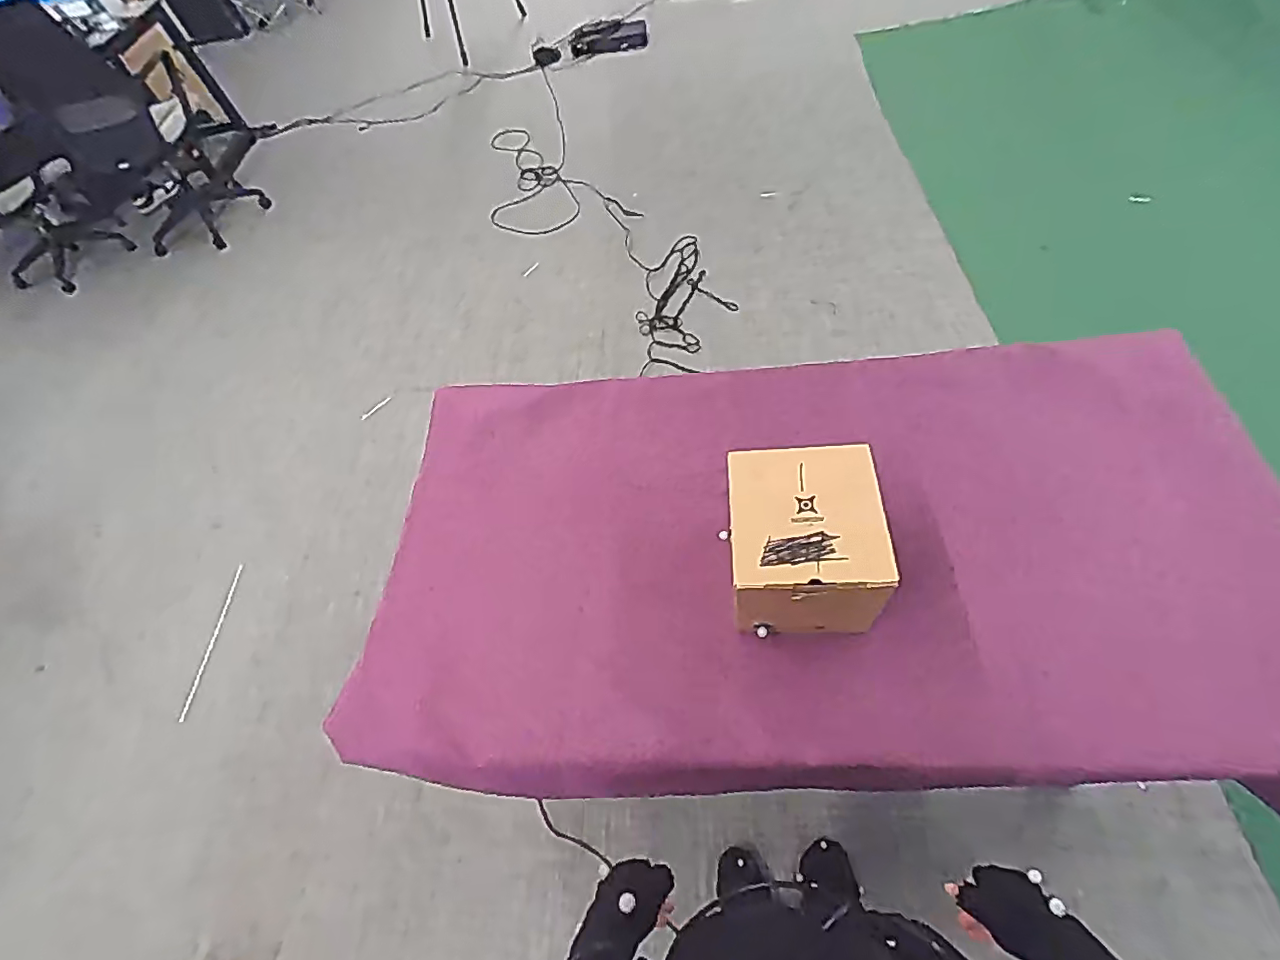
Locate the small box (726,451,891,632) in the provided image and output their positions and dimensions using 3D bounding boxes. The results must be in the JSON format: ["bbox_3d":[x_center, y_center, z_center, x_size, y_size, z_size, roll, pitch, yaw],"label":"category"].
[{"bbox_3d":[0.196,0.085,0.675,0.168,0.176,0.179,-3,57,9],"label":"small box"}]
